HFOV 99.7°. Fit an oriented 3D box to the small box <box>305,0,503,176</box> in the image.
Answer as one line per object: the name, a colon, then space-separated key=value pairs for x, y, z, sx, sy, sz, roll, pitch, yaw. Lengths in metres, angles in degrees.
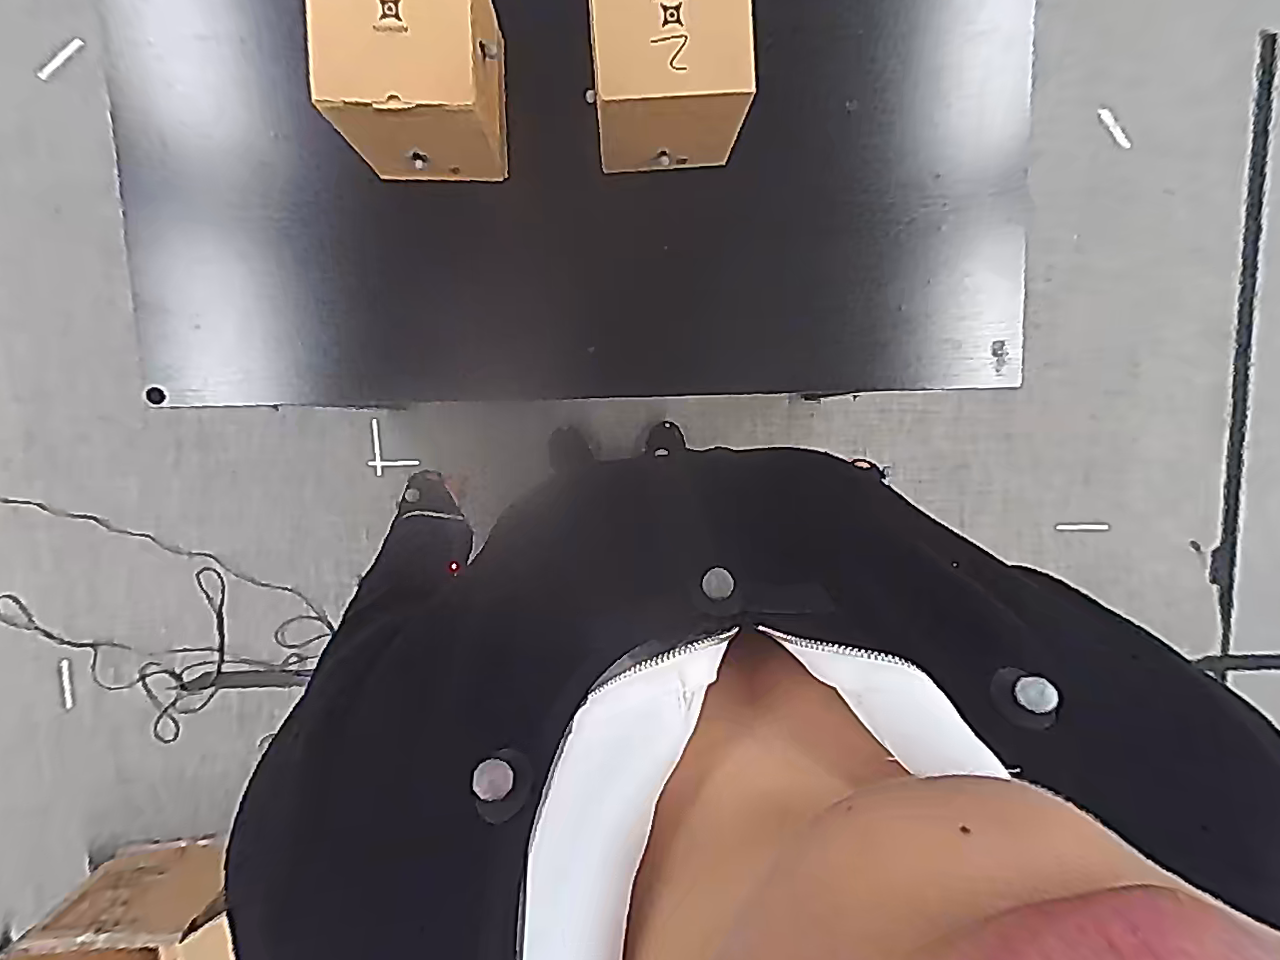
small box: x=-0.257 y=-0.482 z=0.623 sx=0.168 sy=0.176 sz=0.179 roll=-1 pitch=96 yaw=-2
